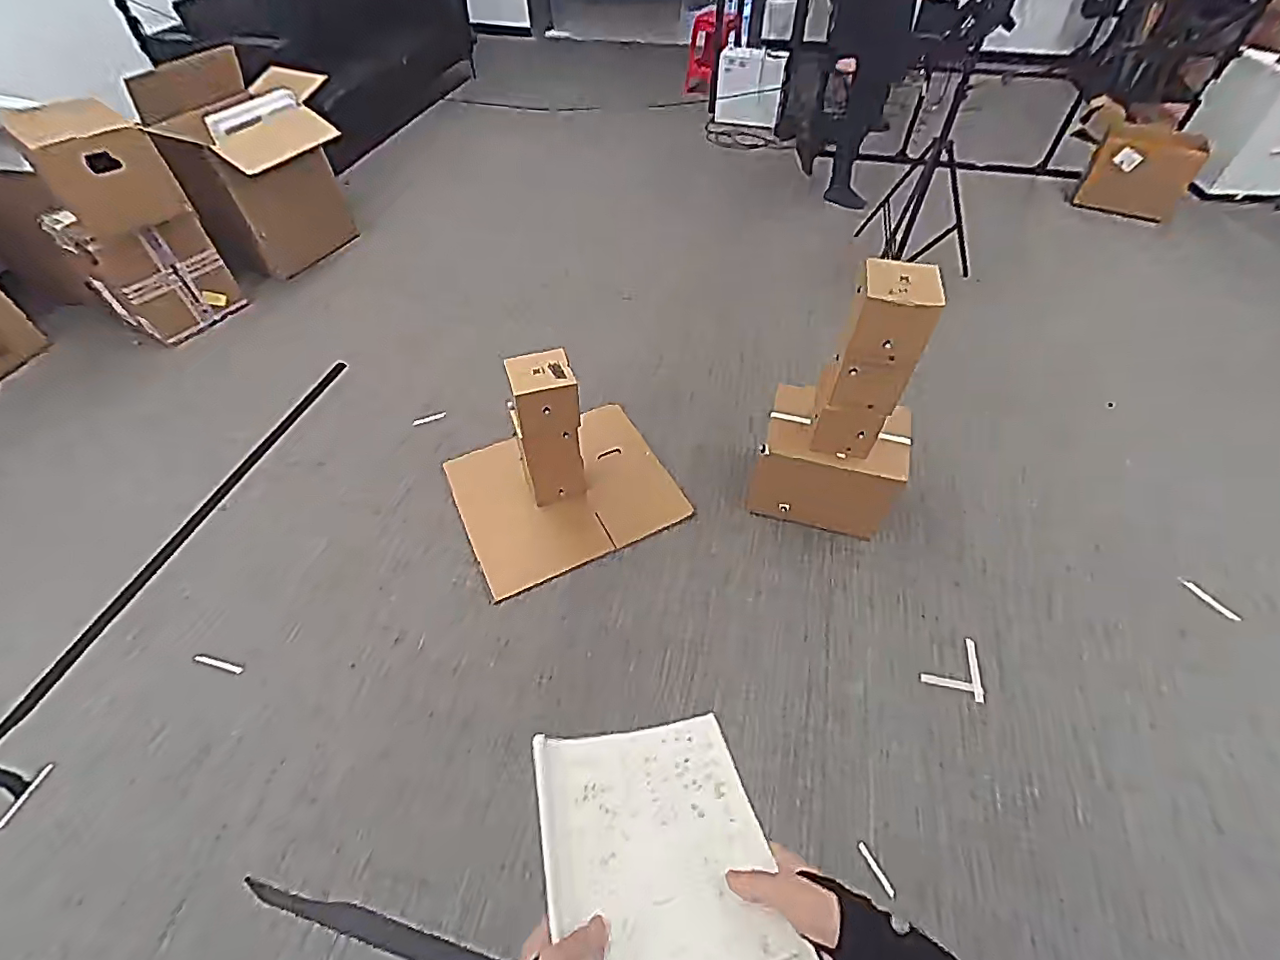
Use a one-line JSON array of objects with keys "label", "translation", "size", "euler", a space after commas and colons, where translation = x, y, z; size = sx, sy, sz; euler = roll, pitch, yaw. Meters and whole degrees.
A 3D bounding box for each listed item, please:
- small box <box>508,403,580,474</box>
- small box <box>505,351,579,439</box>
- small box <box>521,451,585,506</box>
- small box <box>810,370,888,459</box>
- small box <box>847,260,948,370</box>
[{"label": "small box", "translation": [-0.294, -0.142, 1.676], "size": [0.179, 0.176, 0.168], "euler": [-16, 52, -15]}, {"label": "small box", "translation": [-0.274, -0.241, 1.545], "size": [0.179, 0.176, 0.168], "euler": [-14, 52, -13]}, {"label": "small box", "translation": [-0.292, -0.040, 1.803], "size": [0.179, 0.176, 0.168], "euler": [-17, 53, -17]}, {"label": "small box", "translation": [0.585, -0.182, 1.532], "size": [0.168, 0.176, 0.179], "euler": [9, 51, 6]}, {"label": "small box", "translation": [0.596, -0.387, 1.274], "size": [0.168, 0.176, 0.179], "euler": [11, 52, 9]}]
